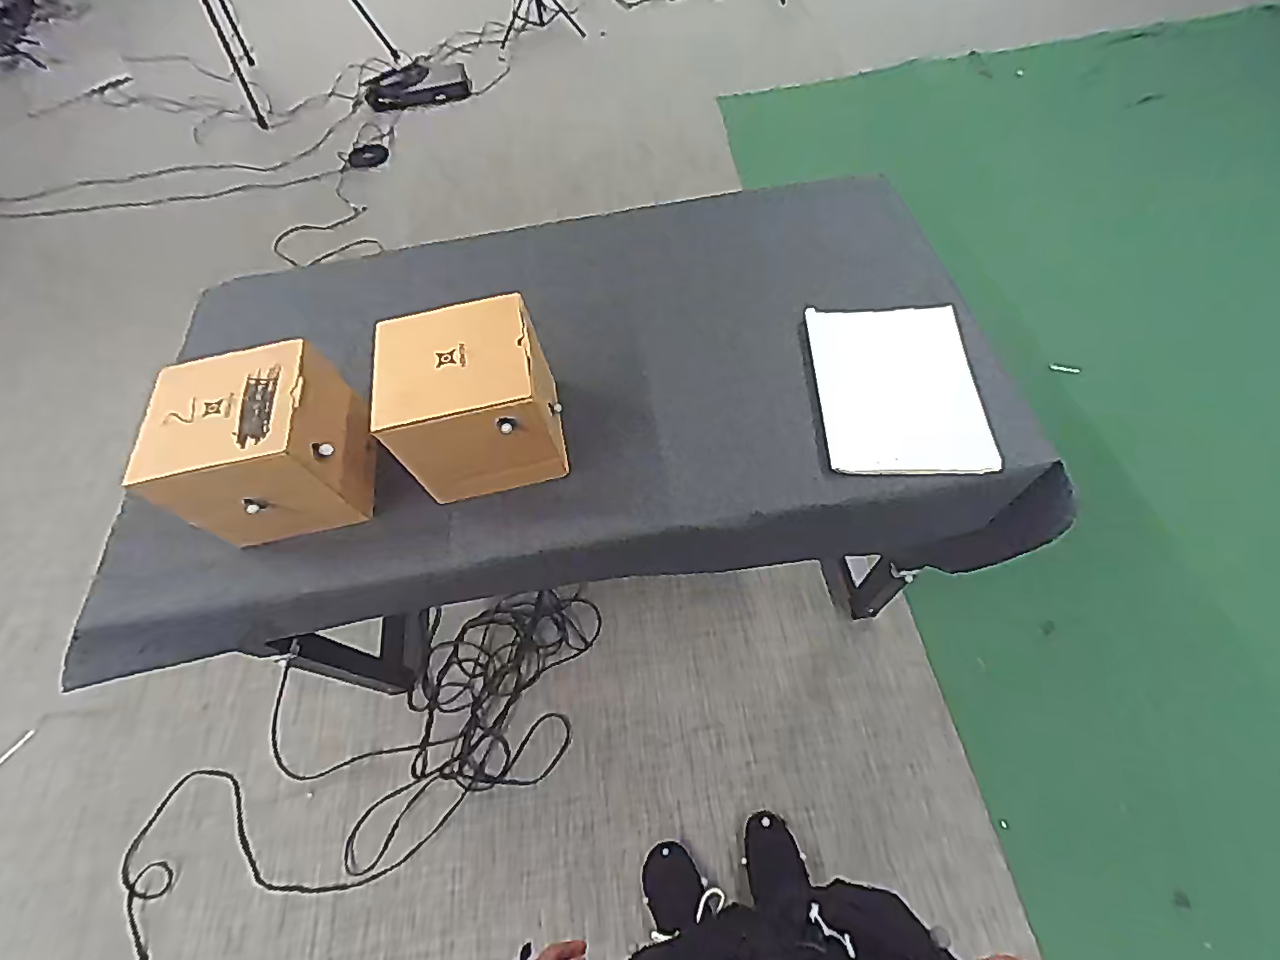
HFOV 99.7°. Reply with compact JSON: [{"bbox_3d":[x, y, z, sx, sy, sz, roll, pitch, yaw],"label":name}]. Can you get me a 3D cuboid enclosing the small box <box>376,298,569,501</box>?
[{"bbox_3d":[-0.199,-0.091,0.675,0.179,0.176,0.168,-13,59,-2],"label":"small box"}]
